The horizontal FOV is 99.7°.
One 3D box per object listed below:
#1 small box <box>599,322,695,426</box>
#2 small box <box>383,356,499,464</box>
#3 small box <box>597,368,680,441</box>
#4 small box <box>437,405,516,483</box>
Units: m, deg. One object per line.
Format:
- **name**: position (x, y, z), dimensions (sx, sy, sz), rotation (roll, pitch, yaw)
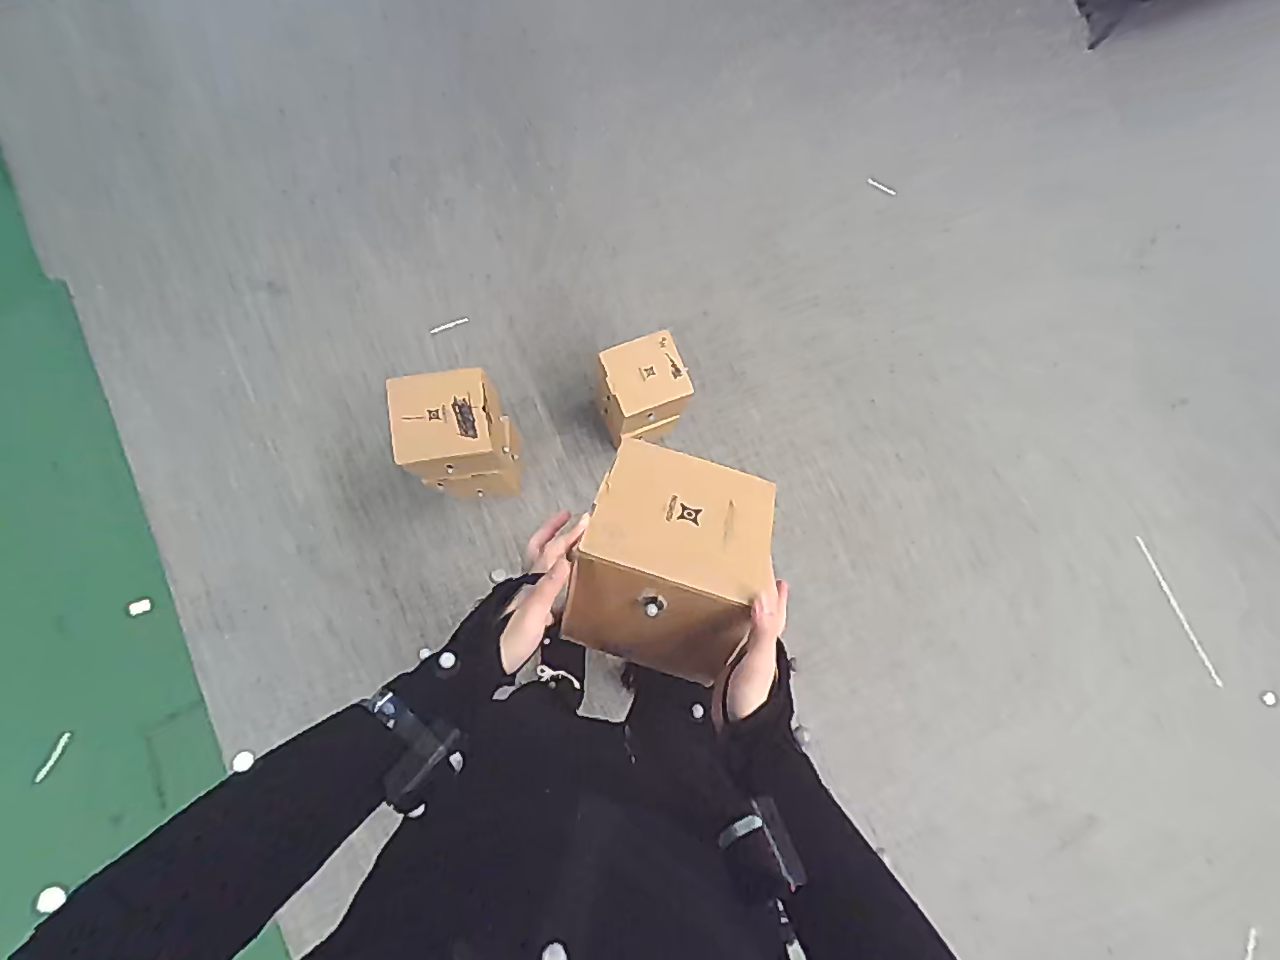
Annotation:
- **small box**: position (0.011, -0.241, 1.270), dimensions (0.179, 0.176, 0.168), rotation (-19, 84, -7)
- **small box**: position (-0.375, -0.130, 1.049), dimensions (0.179, 0.176, 0.168), rotation (-6, 82, -6)
- **small box**: position (-0.009, -0.212, 1.431), dimensions (0.168, 0.176, 0.179), rotation (-20, 84, -8)
- **small box**: position (-0.408, -0.086, 1.373), dimensions (0.168, 0.176, 0.179), rotation (0, 82, -6)
